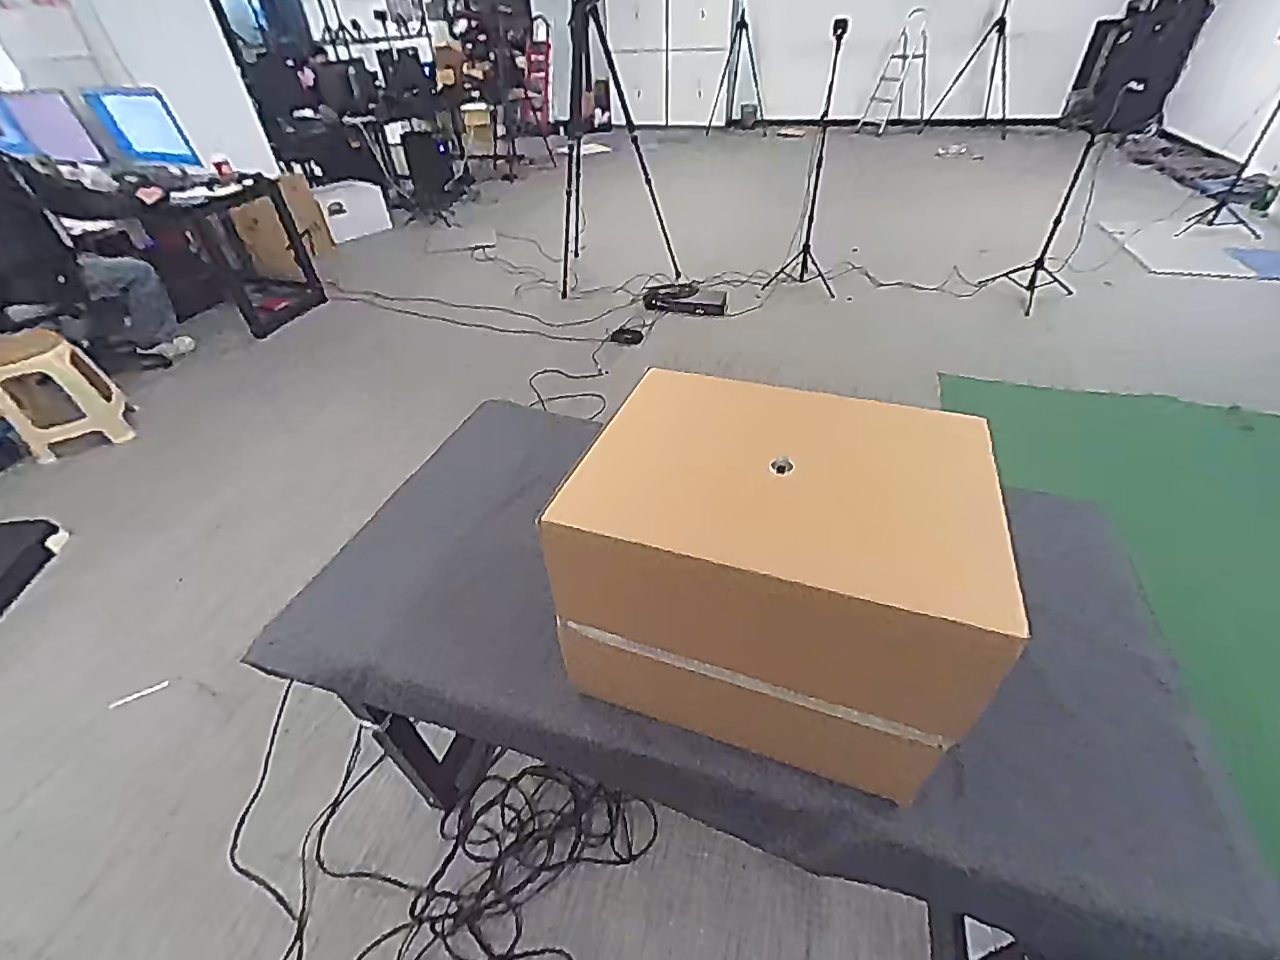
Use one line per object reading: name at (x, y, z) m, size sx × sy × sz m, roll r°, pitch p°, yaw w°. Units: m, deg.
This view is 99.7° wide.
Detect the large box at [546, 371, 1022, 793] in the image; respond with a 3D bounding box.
large box at (0.150, 0.105, 0.651) m, size 0.408 × 0.320 × 0.320 m, roll 12°, pitch 41°, yaw 15°
